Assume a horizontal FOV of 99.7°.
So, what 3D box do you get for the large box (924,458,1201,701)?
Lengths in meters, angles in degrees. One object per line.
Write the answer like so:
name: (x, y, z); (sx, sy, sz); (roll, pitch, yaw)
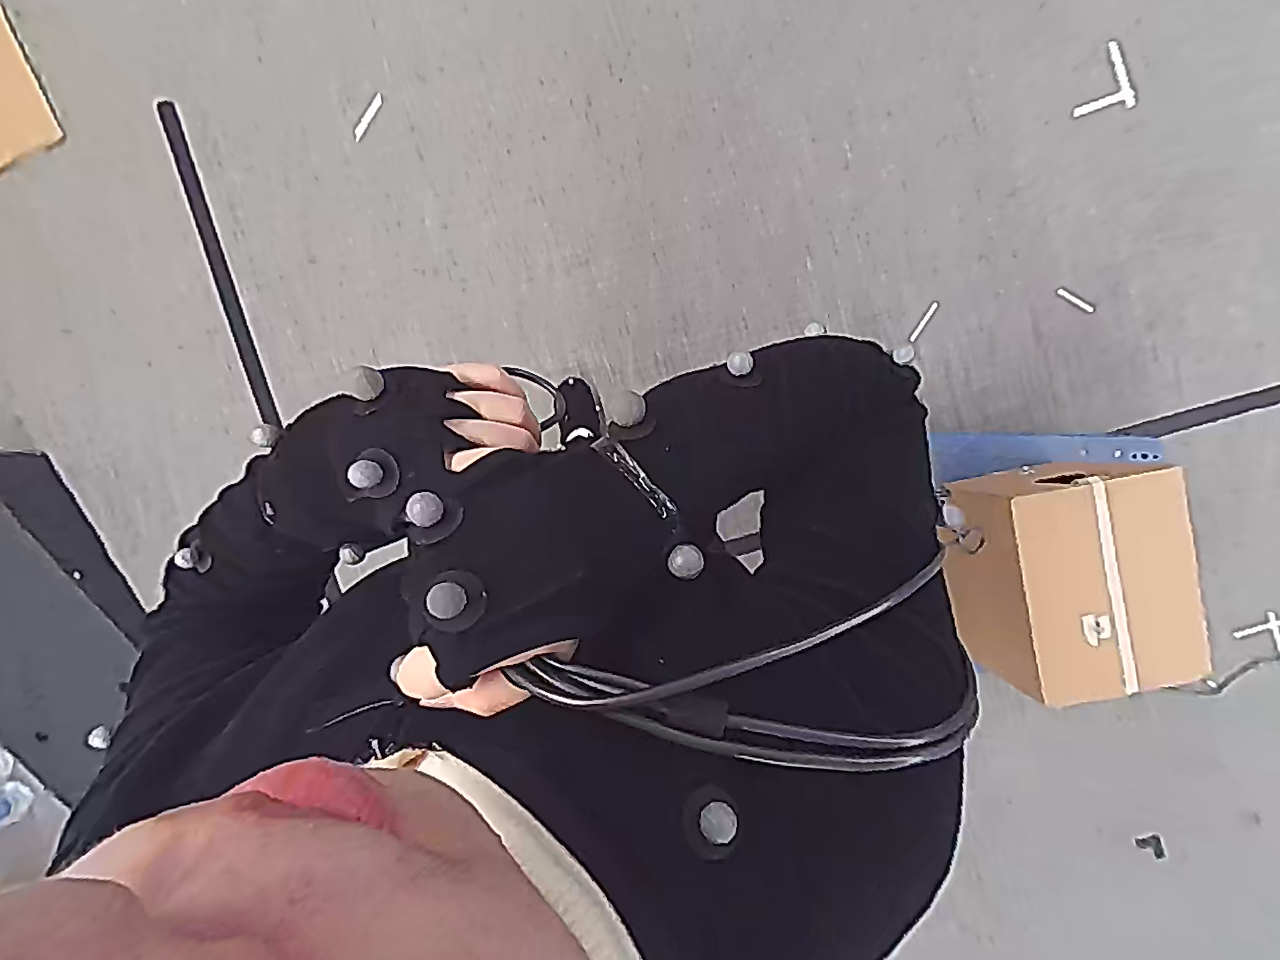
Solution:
large box: (0.856, 0.181, 1.143); (0.320, 0.320, 0.408); (-11, 94, 2)
